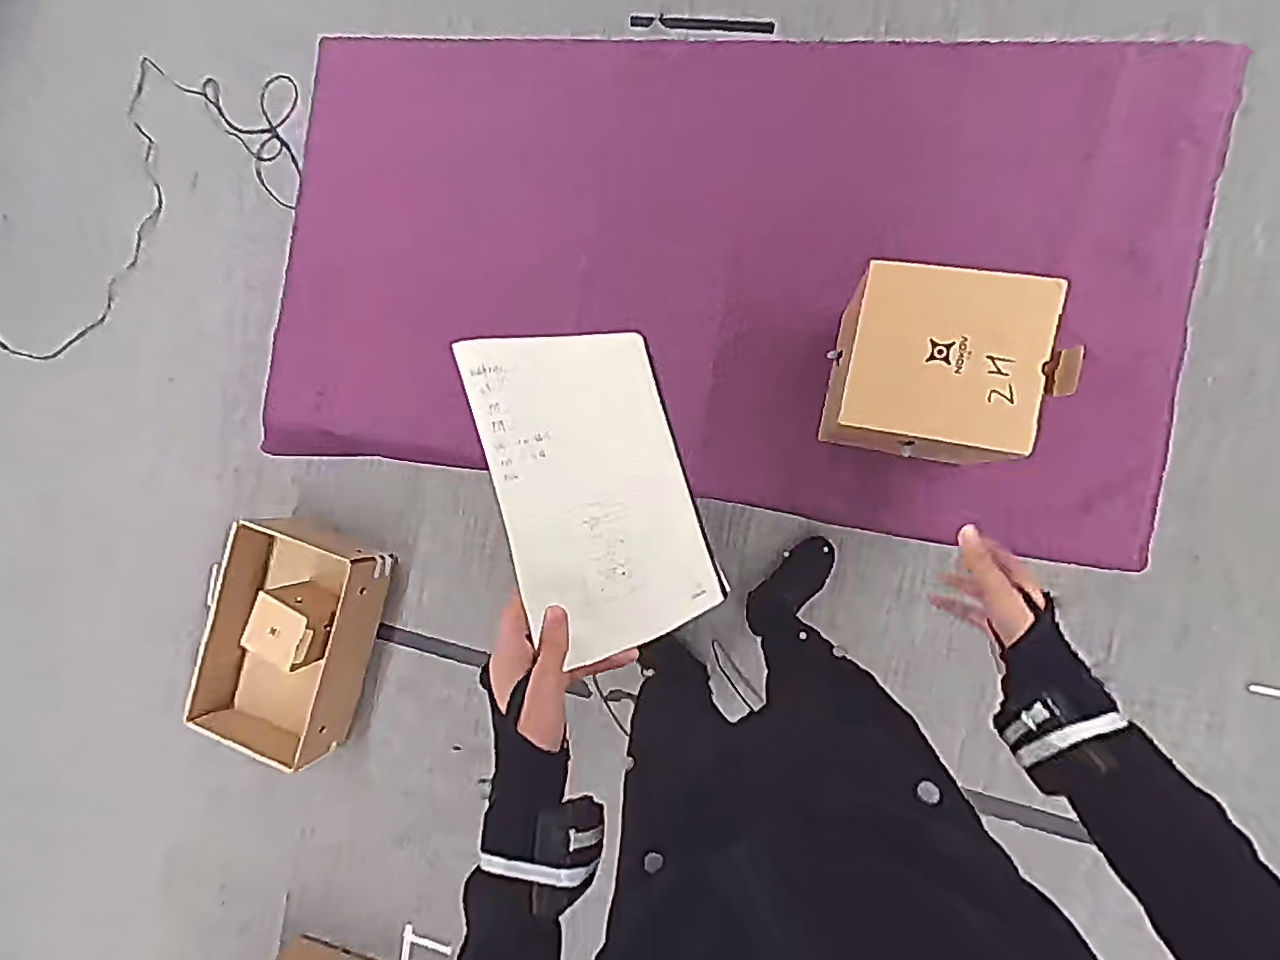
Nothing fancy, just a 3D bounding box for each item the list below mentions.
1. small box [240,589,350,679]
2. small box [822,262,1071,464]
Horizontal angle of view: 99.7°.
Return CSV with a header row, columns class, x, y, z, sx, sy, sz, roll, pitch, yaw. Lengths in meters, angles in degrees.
class,x,y,z,sx,sy,sz,roll,pitch,yaw
small box,-0.965,0.424,1.527,0.179,0.176,0.168,24,94,11
small box,0.306,-0.113,0.584,0.179,0.176,0.168,12,91,12
